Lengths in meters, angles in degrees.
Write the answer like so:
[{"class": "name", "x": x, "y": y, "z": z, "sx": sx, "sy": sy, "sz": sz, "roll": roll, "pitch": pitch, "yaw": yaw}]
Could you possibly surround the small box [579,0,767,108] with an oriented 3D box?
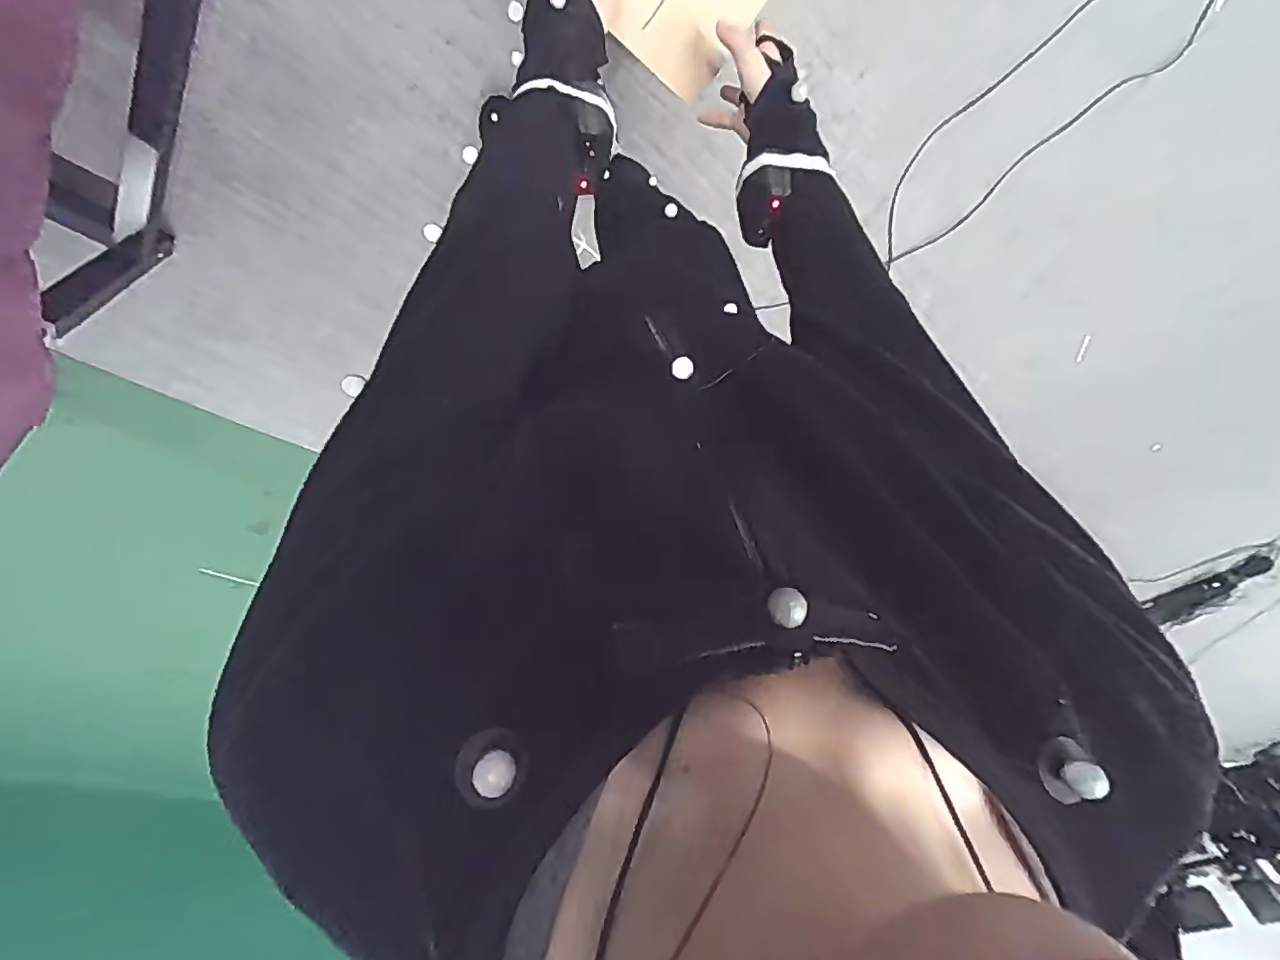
[{"class": "small box", "x": 0.037, "y": -0.539, "z": 0.558, "sx": 0.168, "sy": 0.176, "sz": 0.179, "roll": 27, "pitch": 126, "yaw": -28}]
